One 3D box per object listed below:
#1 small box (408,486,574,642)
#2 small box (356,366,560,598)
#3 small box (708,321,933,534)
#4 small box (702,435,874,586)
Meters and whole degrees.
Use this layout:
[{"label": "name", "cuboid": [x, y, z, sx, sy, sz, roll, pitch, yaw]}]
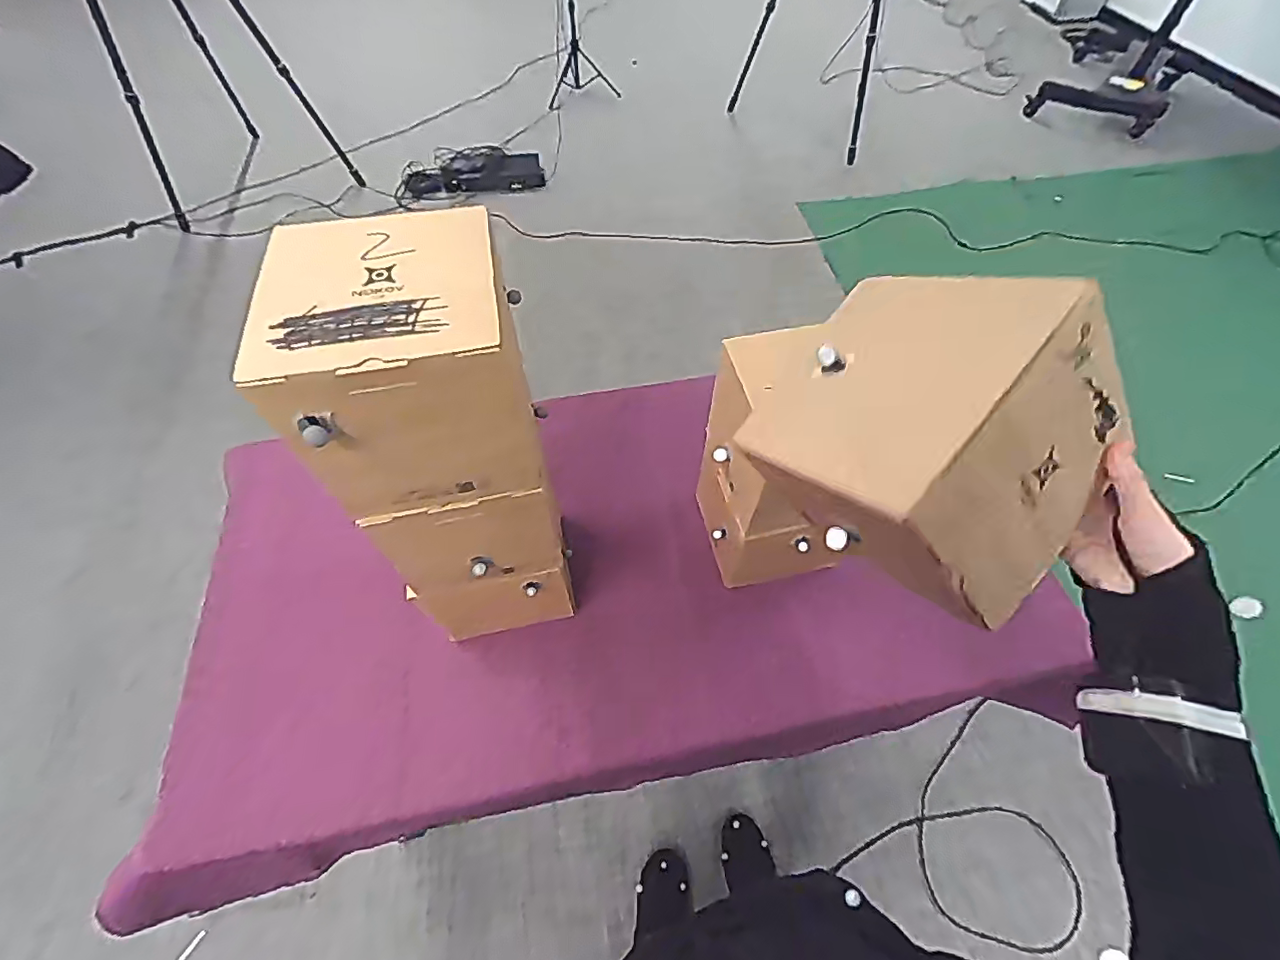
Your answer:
[{"label": "small box", "cuboid": [-0.193, 0.101, 0.726, 0.179, 0.176, 0.168, -11, 57, -8]}, {"label": "small box", "cuboid": [-0.187, 0.005, 0.592, 0.168, 0.176, 0.179, -11, 57, -8]}, {"label": "small box", "cuboid": [0.190, -0.056, 0.631, 0.179, 0.176, 0.168, -11, 58, -6]}, {"label": "small box", "cuboid": [0.191, 0.036, 0.767, 0.179, 0.176, 0.168, -10, 58, -7]}]
